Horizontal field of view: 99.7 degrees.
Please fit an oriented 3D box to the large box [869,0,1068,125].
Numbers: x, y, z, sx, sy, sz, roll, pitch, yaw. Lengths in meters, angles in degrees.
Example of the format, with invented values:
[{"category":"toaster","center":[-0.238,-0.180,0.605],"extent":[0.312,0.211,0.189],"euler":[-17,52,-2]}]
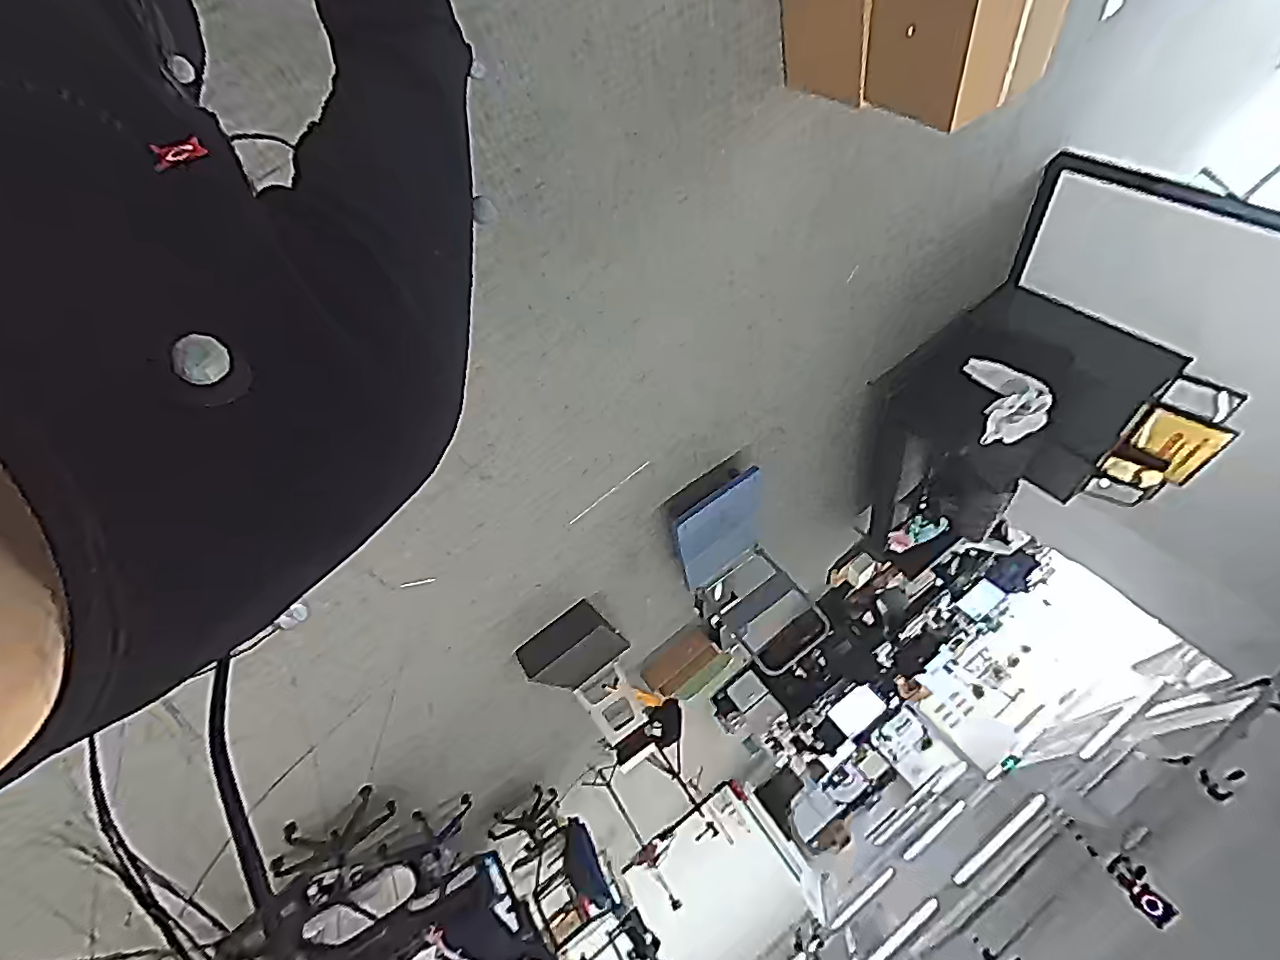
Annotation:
[{"category":"large box","center":[0.791,-1.172,1.296],"extent":[0.320,0.320,0.408],"euler":[-33,145,-5]}]
